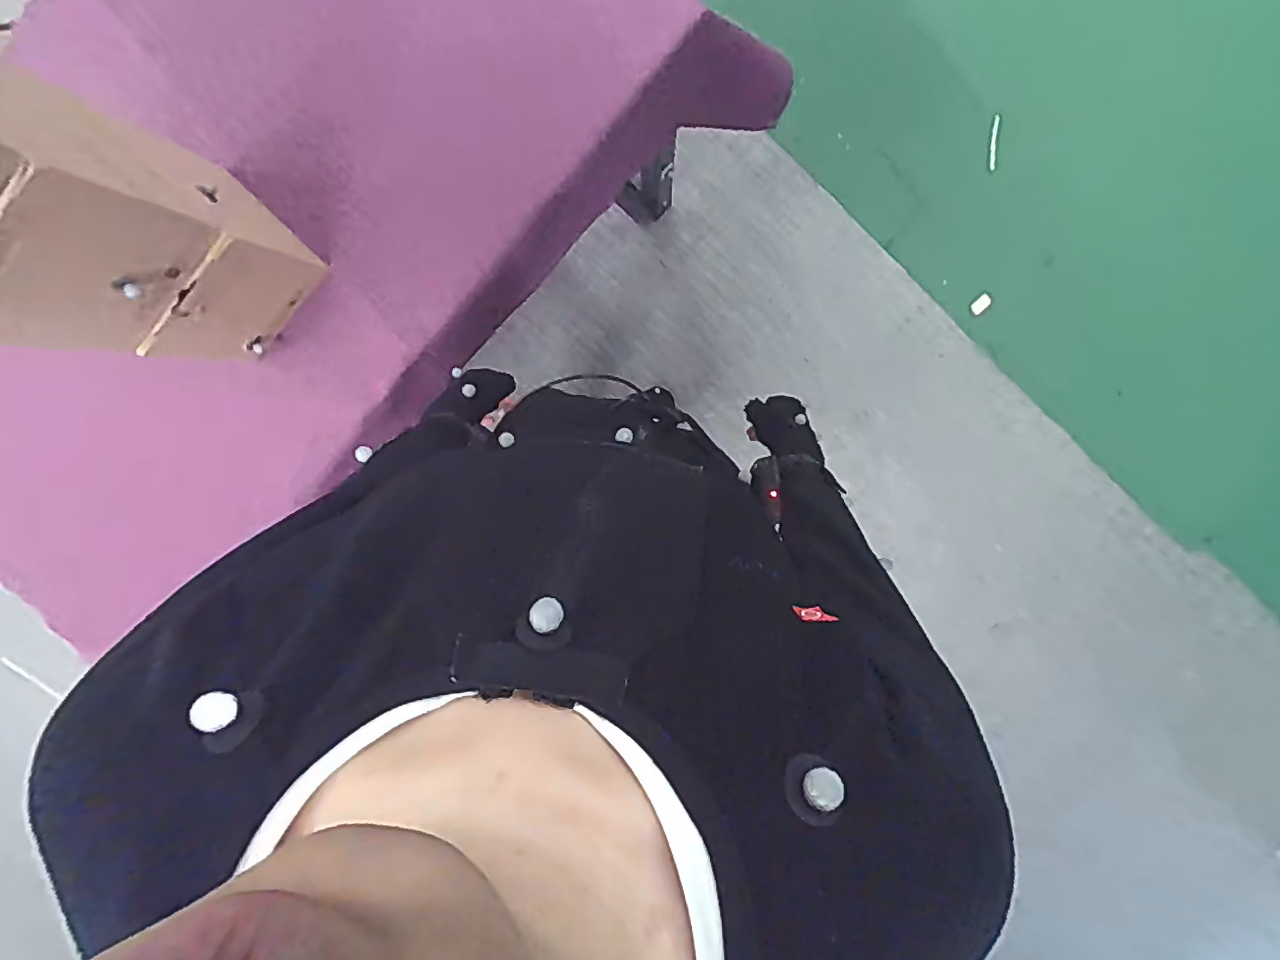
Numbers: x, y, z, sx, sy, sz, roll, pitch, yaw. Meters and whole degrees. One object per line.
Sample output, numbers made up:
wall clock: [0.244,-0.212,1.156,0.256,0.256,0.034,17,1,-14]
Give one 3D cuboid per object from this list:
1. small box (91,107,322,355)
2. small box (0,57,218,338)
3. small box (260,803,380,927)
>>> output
small box: [-0.518,-0.262,0.620,0.179,0.176,0.168,44,98,-5]
small box: [-0.529,-0.238,0.458,0.179,0.176,0.168,44,99,-6]
small box: [-0.831,1.004,1.423,0.179,0.176,0.168,41,98,-5]
